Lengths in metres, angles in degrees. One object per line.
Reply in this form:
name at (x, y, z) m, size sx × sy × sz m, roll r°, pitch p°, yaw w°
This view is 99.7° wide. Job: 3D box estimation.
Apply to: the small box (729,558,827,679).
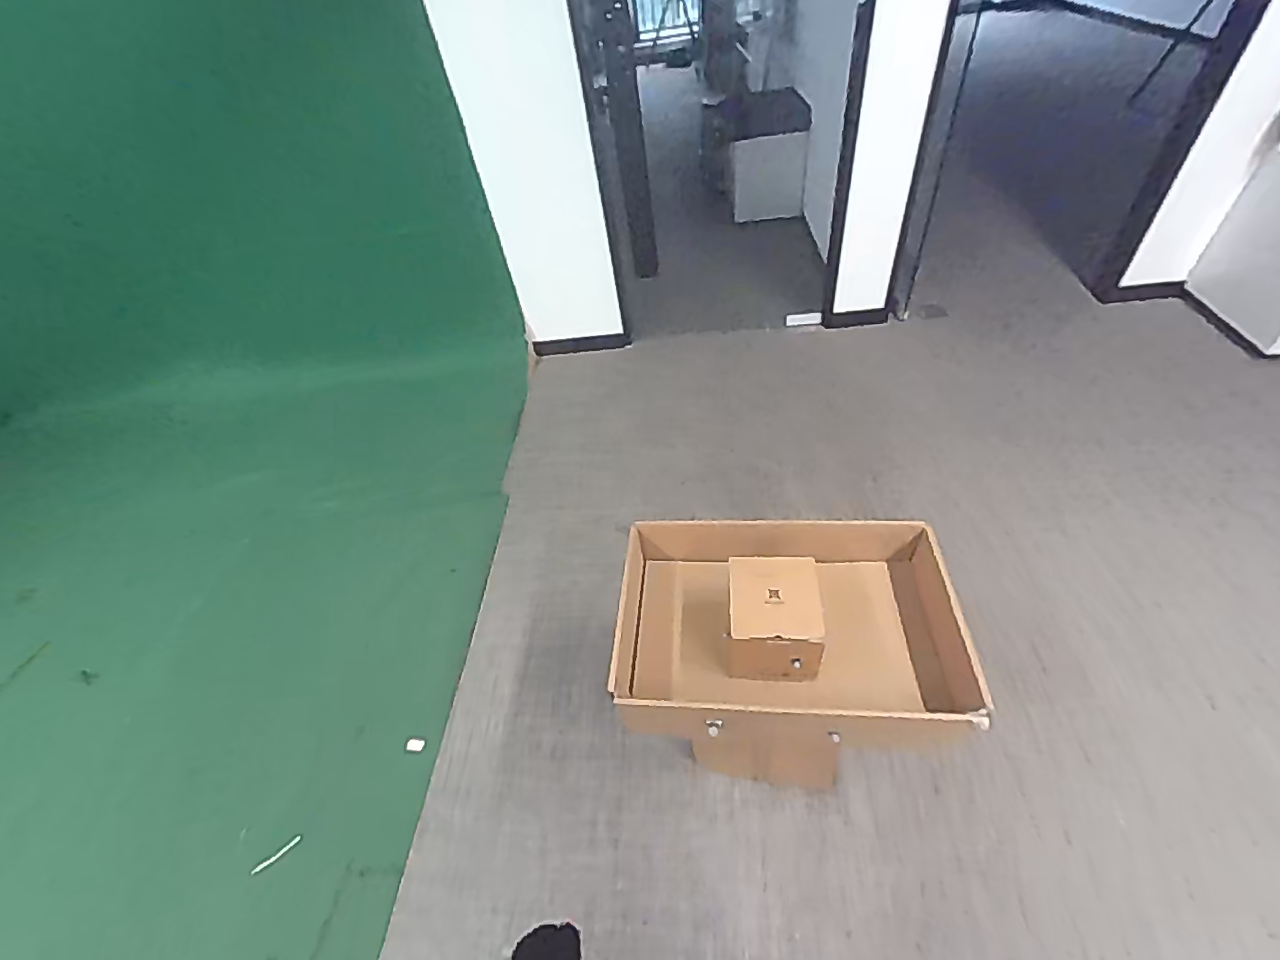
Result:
small box at (0.260, 0.272, 1.055) m, size 0.168 × 0.176 × 0.179 m, roll -1°, pitch 44°, yaw 7°
